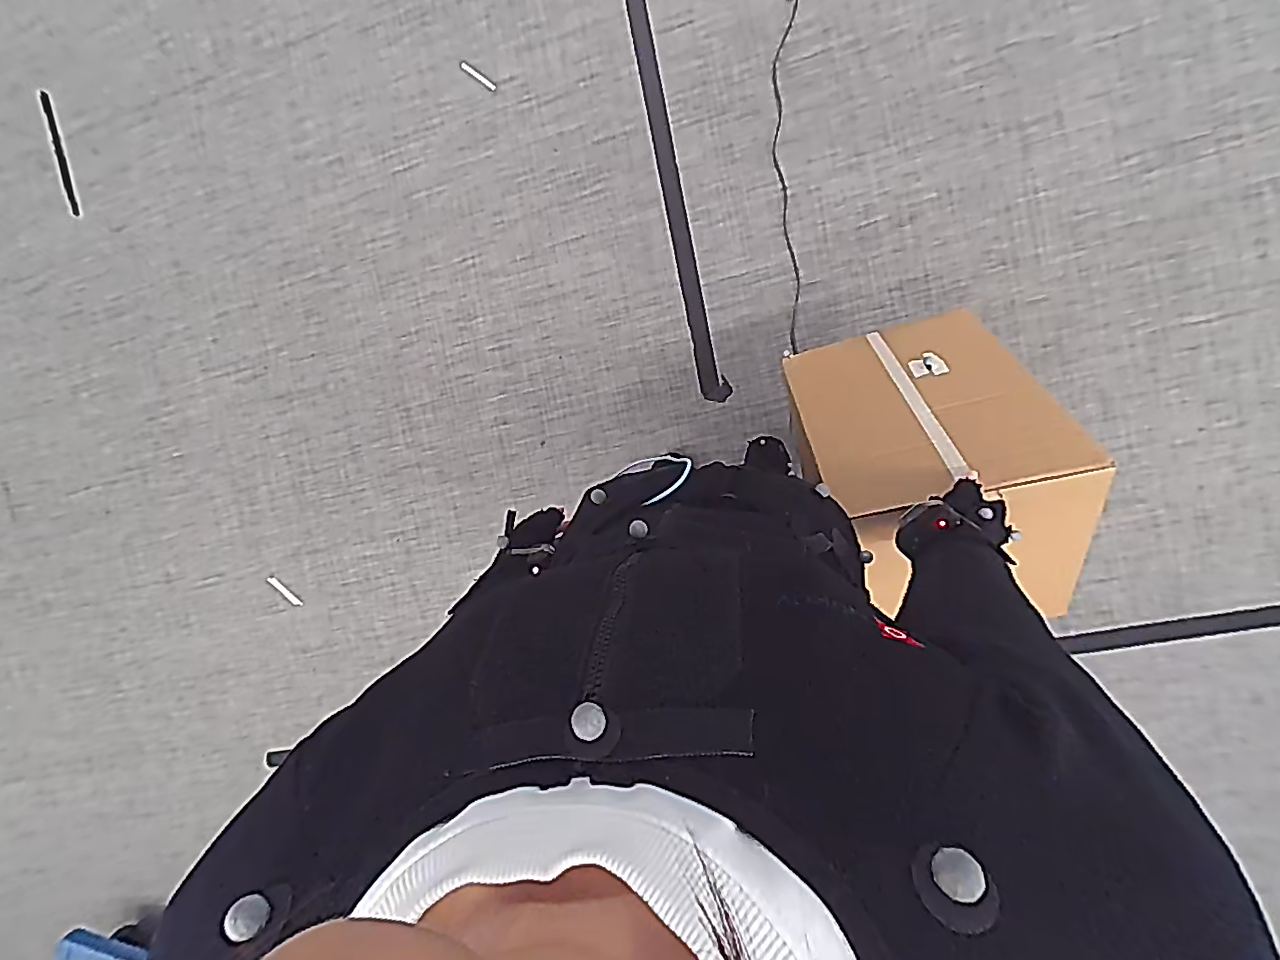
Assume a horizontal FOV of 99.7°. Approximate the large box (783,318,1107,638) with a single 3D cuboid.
[{"bbox_3d":[0.454,-0.008,0.906,0.320,0.408,0.320,-13,130,11],"label":"large box"}]
